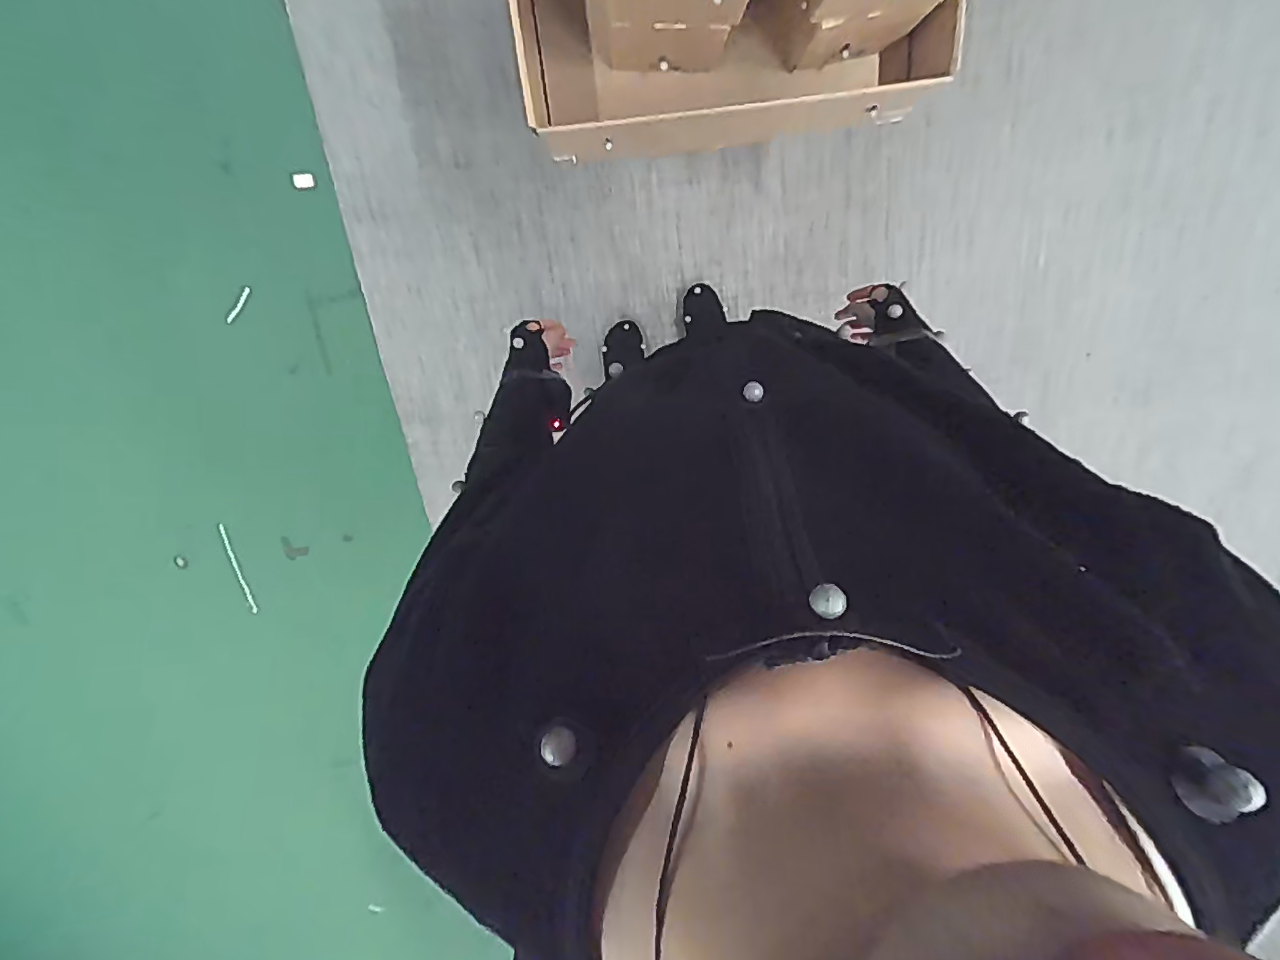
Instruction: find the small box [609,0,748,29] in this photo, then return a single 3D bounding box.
[{"bbox_3d":[0.052,-0.652,0.617,0.179,0.176,0.168,0,108,-1],"label":"small box"}]
